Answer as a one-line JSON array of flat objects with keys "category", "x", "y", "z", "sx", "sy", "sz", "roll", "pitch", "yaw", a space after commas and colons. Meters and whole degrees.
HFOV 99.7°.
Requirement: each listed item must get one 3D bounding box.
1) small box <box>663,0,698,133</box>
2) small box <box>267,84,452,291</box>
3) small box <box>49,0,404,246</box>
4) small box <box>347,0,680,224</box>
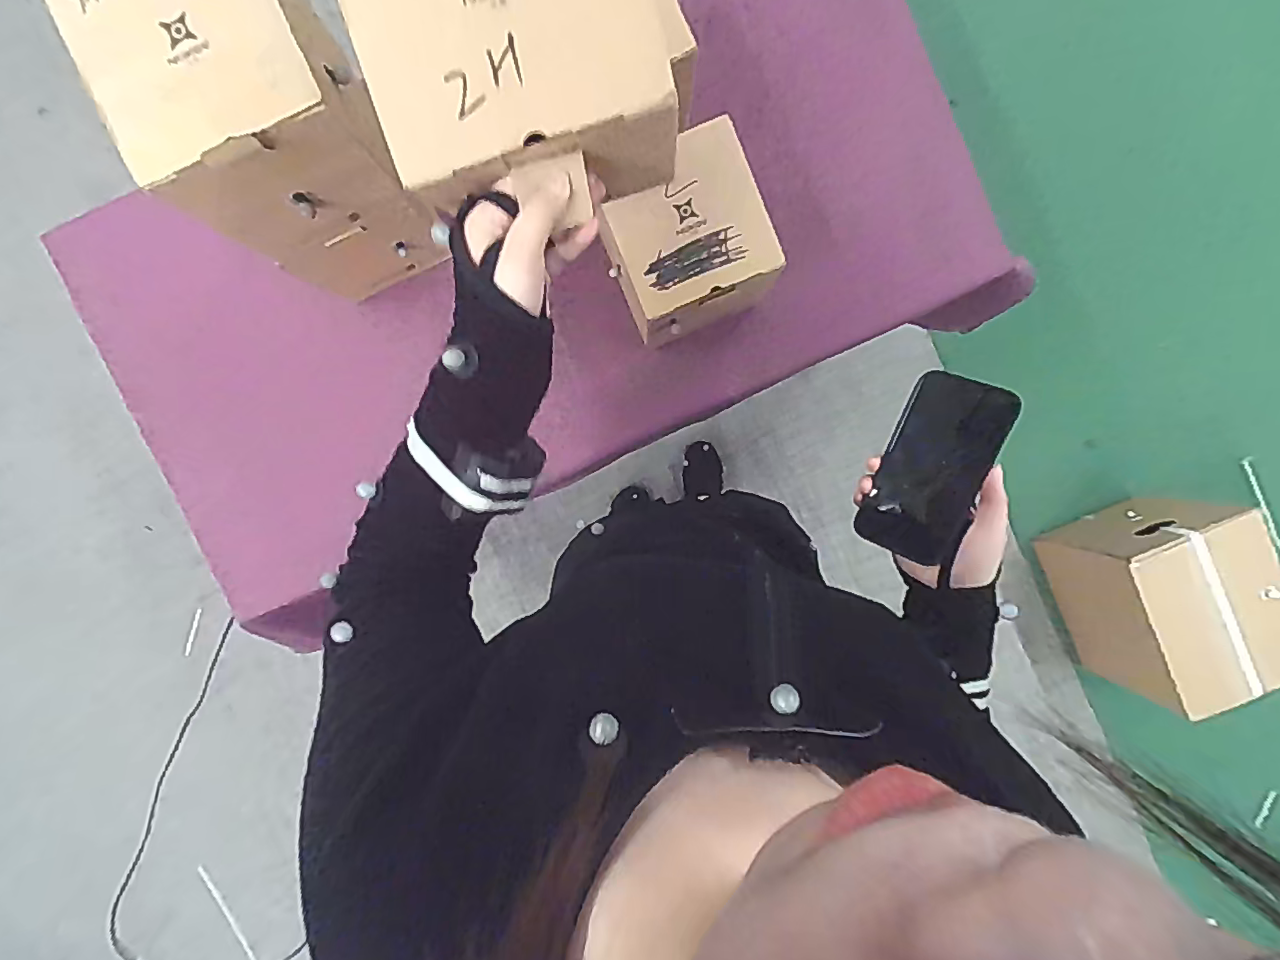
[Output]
[{"category": "small box", "x": -0.048, "y": -0.511, "z": 0.653, "sx": 0.168, "sy": 0.176, "sz": 0.179, "roll": -27, "pitch": 94, "yaw": 2}, {"category": "small box", "x": -0.361, "y": -0.354, "z": 0.667, "sx": 0.168, "sy": 0.176, "sz": 0.179, "roll": -24, "pitch": 93, "yaw": 1}, {"category": "small box", "x": -0.355, "y": -0.344, "z": 0.503, "sx": 0.168, "sy": 0.176, "sz": 0.179, "roll": -24, "pitch": 94, "yaw": 1}, {"category": "small box", "x": -0.074, "y": -0.298, "z": 0.359, "sx": 0.168, "sy": 0.176, "sz": 0.179, "roll": -14, "pitch": 104, "yaw": 8}]
